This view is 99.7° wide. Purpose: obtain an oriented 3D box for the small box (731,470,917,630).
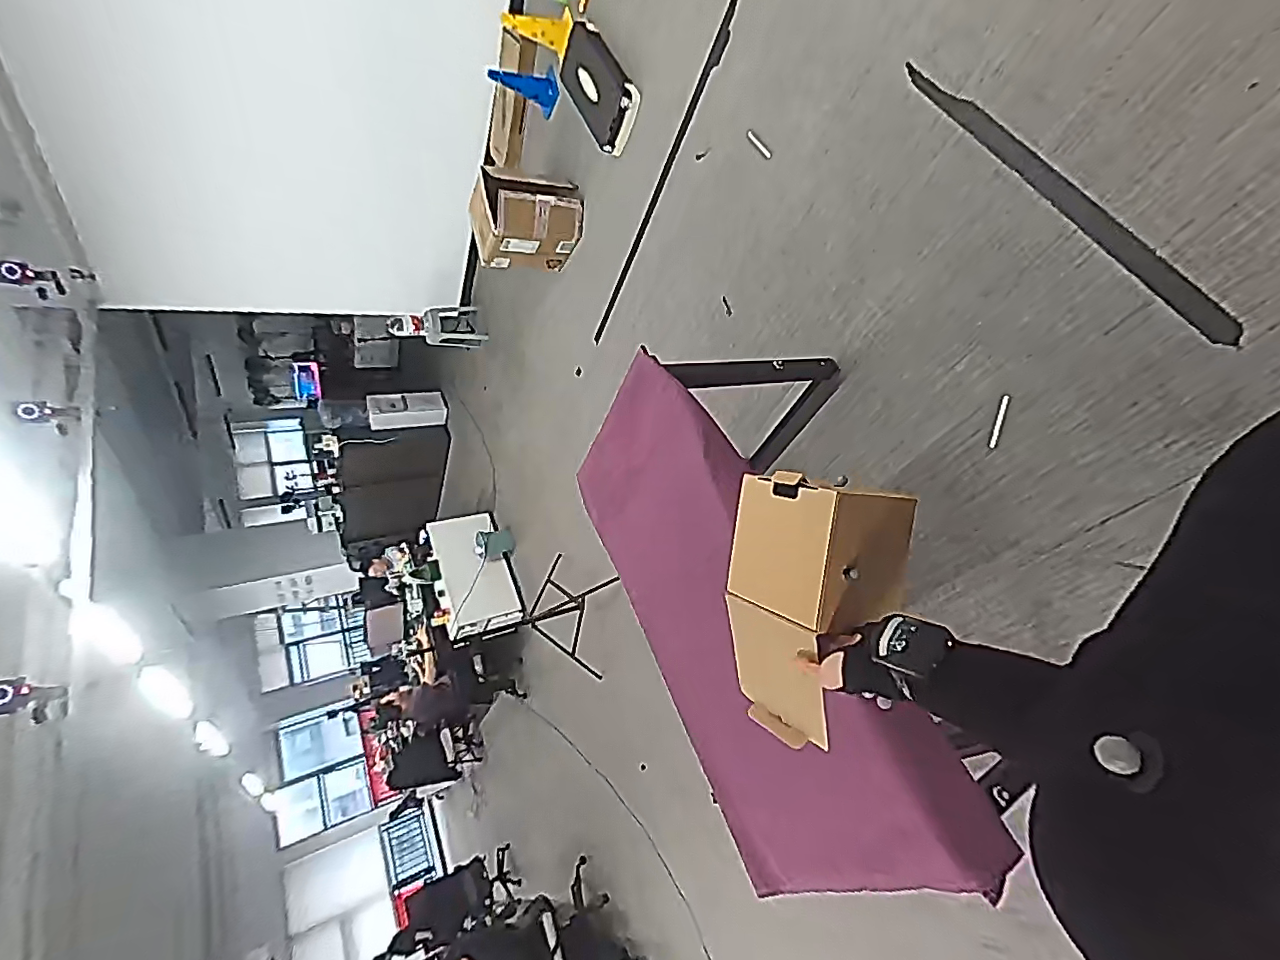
[{"bbox_3d":[0.252,0.089,0.746,0.168,0.176,0.179,15,98,57],"label":"small box"}]
